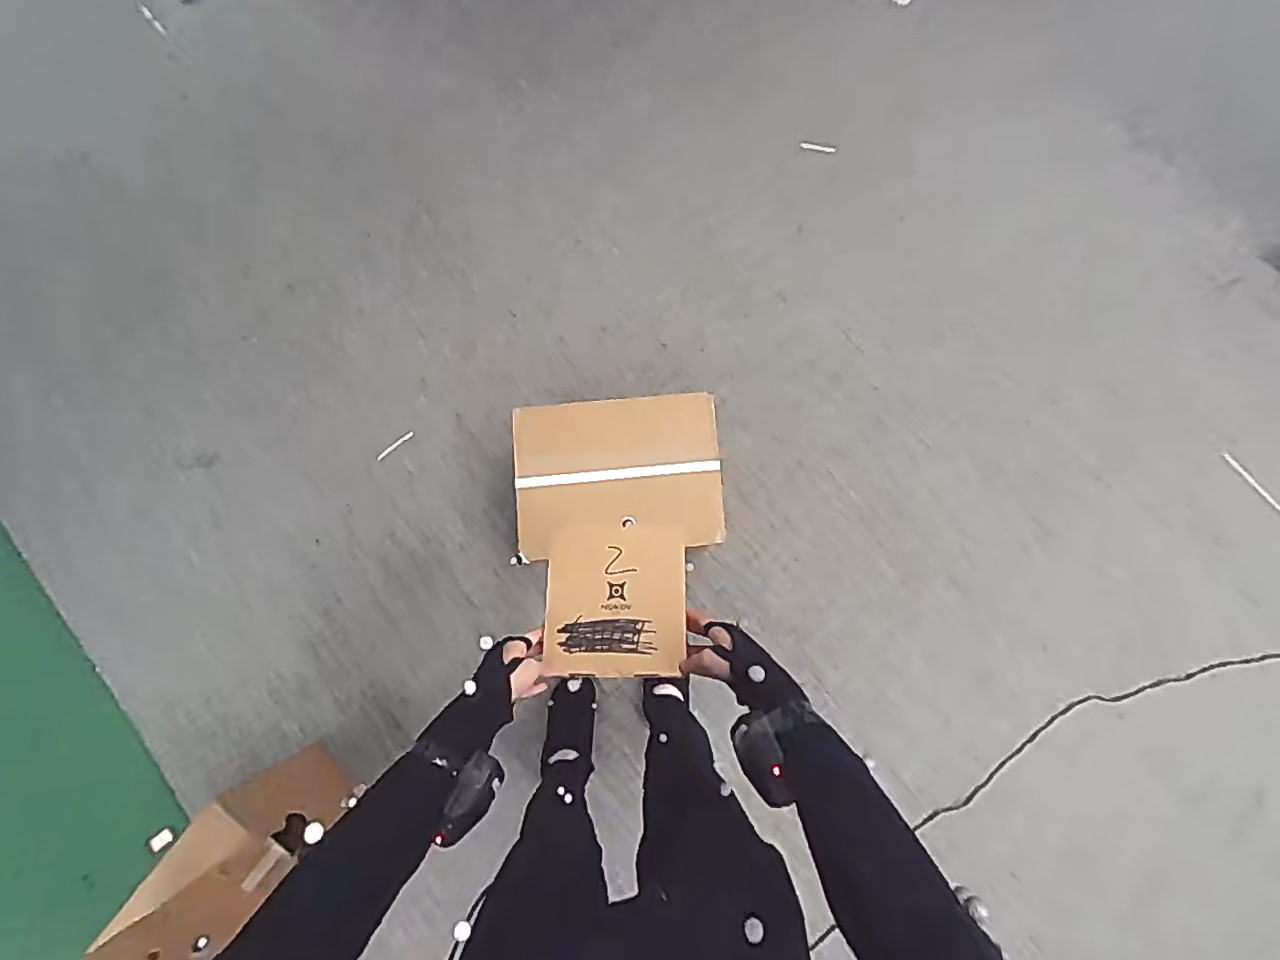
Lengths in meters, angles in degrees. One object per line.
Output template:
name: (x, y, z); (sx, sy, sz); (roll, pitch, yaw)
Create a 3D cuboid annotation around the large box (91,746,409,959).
large box: (-0.759, 0.840, 1.082); (0.320, 0.320, 0.408); (37, 84, 7)

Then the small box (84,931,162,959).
small box: (-0.723, 0.743, 0.685); (0.168, 0.176, 0.179); (36, 83, 5)

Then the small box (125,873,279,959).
small box: (-0.723, 0.775, 0.846); (0.179, 0.176, 0.168); (37, 82, 6)
